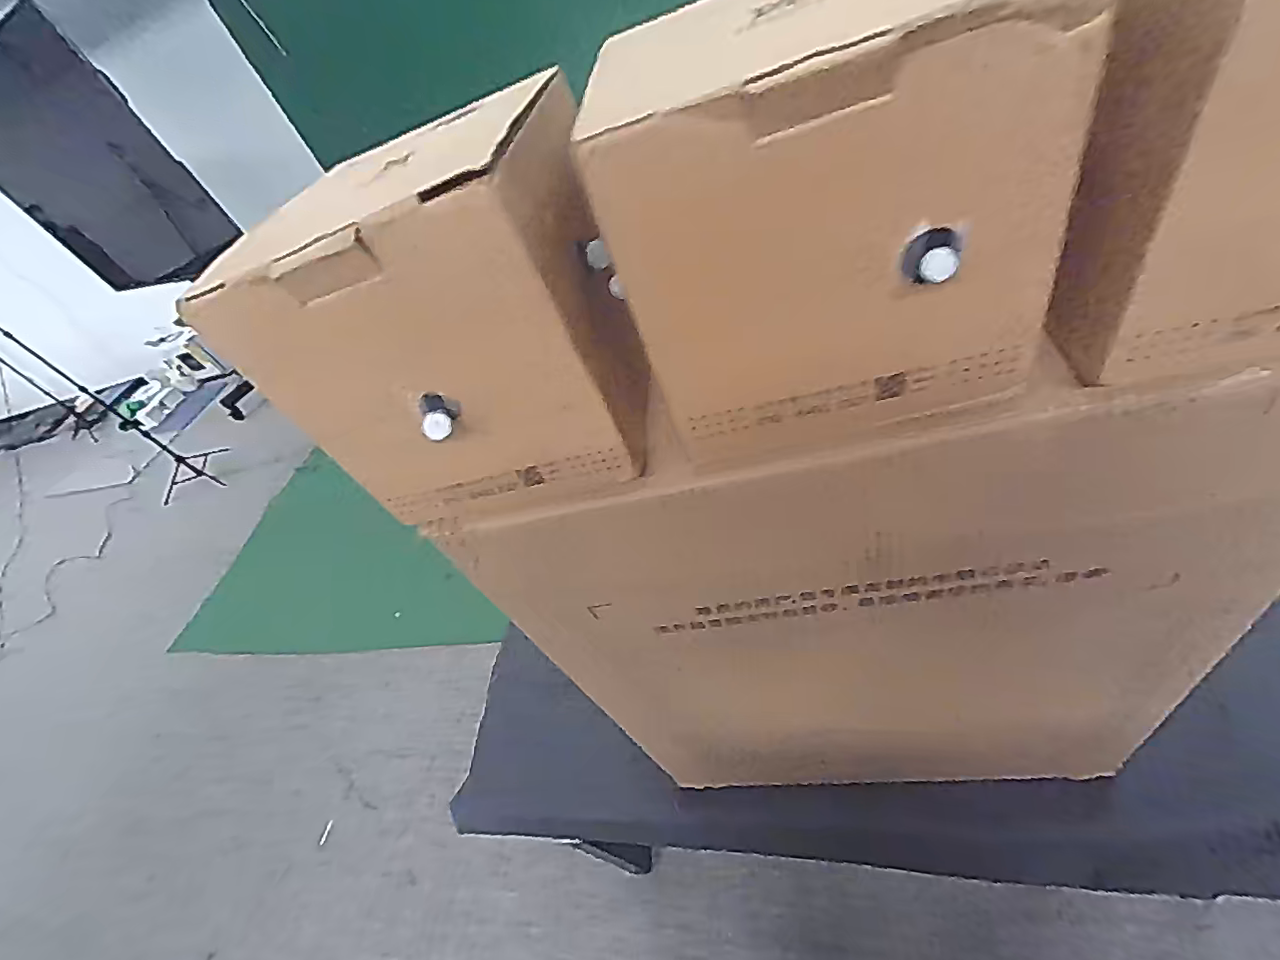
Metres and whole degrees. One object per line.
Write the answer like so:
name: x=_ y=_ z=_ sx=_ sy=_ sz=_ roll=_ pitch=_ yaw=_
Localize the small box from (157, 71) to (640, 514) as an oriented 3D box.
small box: x=-0.106 y=-0.095 z=0.324 sx=0.168 sy=0.176 sz=0.179 roll=-12 pitch=46 yaw=17
